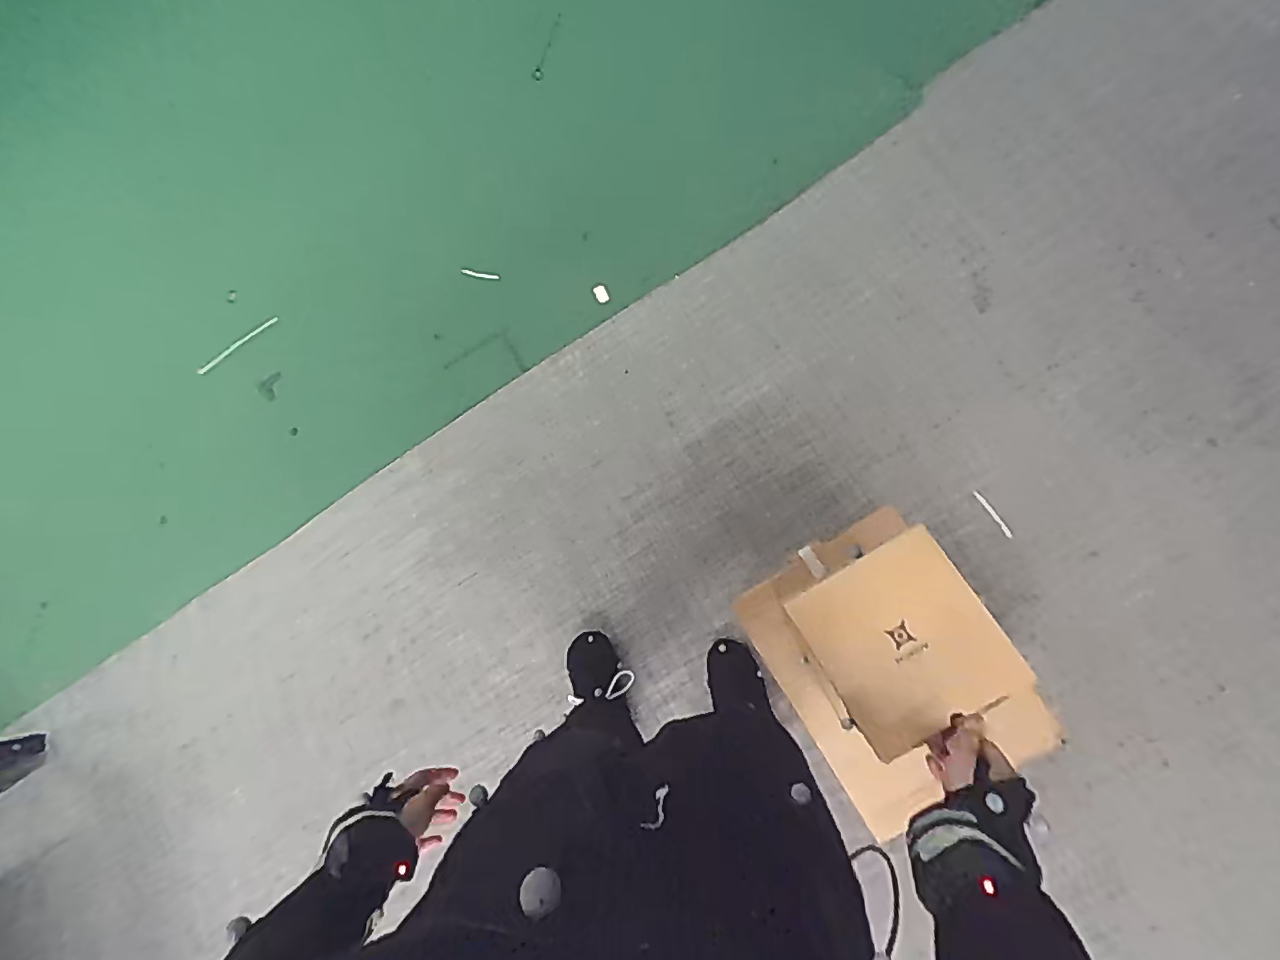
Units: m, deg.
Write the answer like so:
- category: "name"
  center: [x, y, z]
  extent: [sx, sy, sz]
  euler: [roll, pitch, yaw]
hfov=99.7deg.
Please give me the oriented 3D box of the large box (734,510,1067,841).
- category: "large box"
  center: [0.411, 0.314, 0.975]
  extent: [0.320, 0.320, 0.408]
  euler: [-34, 74, 6]

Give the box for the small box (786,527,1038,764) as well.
- category: "small box"
  center: [0.278, 0.176, 0.607]
  extent: [0.168, 0.176, 0.179]
  euler: [-32, 74, 5]
